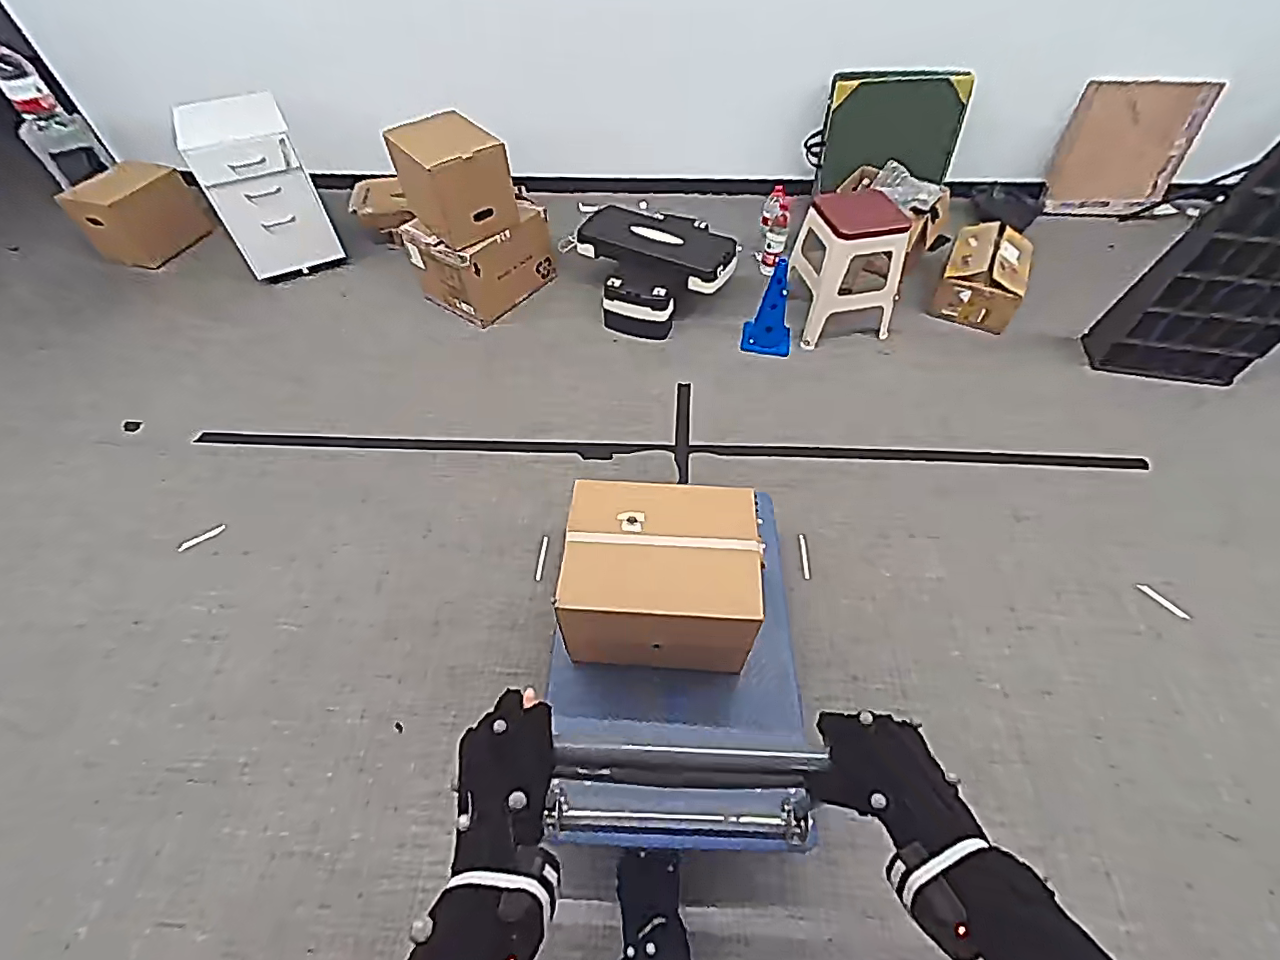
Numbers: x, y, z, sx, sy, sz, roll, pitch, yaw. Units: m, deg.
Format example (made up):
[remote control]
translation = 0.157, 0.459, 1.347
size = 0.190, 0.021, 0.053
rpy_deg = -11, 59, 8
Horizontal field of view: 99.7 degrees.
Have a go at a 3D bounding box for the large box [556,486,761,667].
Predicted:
[large box]
translation = 0.047, 0.229, 1.252
size = 0.408, 0.320, 0.320
rpy_deg = 2, 53, 3
